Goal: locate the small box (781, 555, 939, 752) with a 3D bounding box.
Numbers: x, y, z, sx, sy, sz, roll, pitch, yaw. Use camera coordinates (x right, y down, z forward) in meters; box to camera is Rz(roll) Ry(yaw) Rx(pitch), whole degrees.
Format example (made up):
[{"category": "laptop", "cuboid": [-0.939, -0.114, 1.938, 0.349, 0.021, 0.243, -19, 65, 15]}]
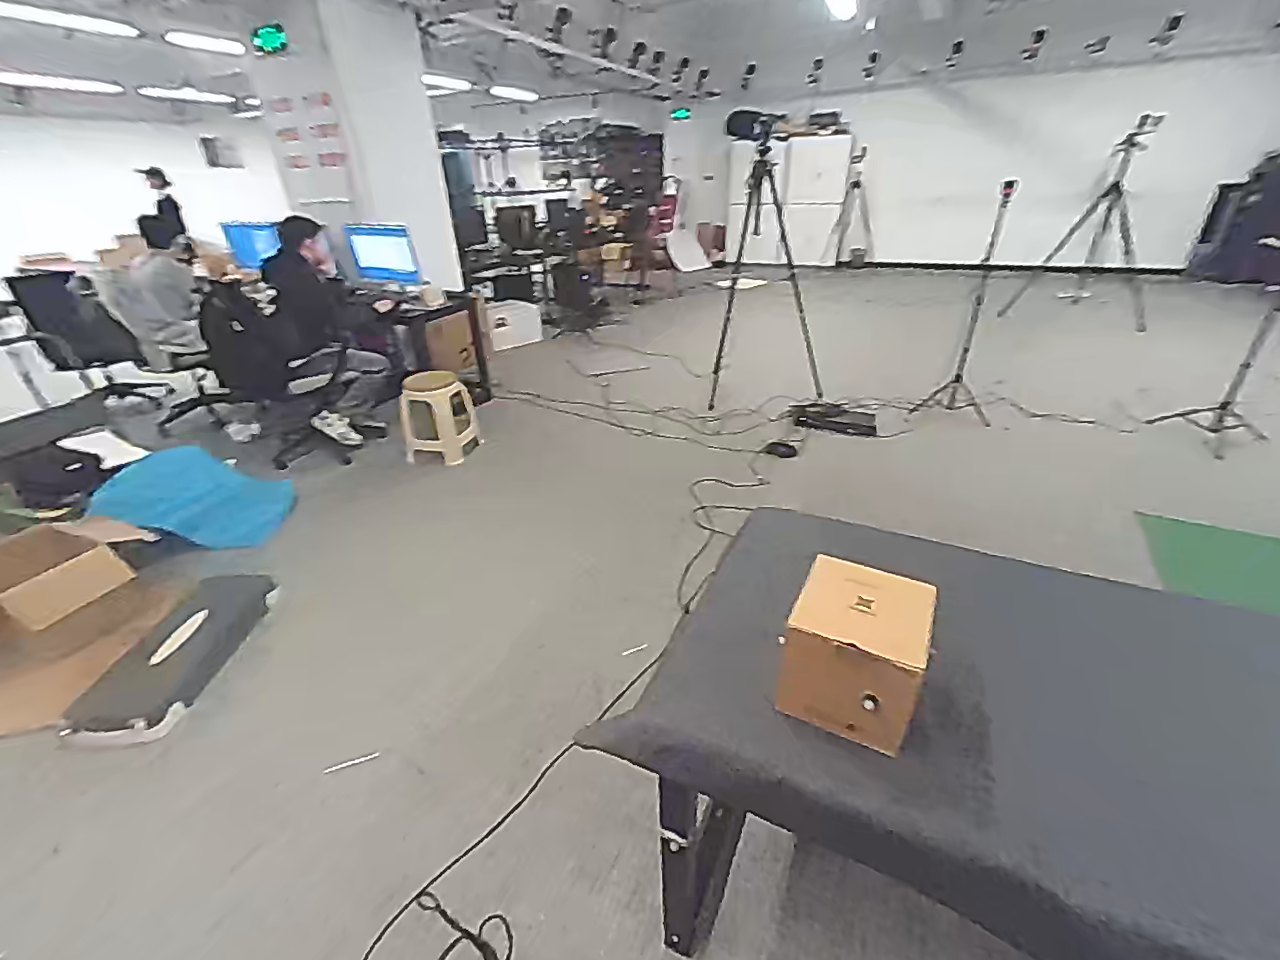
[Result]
[{"category": "small box", "cuboid": [0.304, 0.238, 0.760, 0.168, 0.176, 0.179, 15, 32, 25]}]
